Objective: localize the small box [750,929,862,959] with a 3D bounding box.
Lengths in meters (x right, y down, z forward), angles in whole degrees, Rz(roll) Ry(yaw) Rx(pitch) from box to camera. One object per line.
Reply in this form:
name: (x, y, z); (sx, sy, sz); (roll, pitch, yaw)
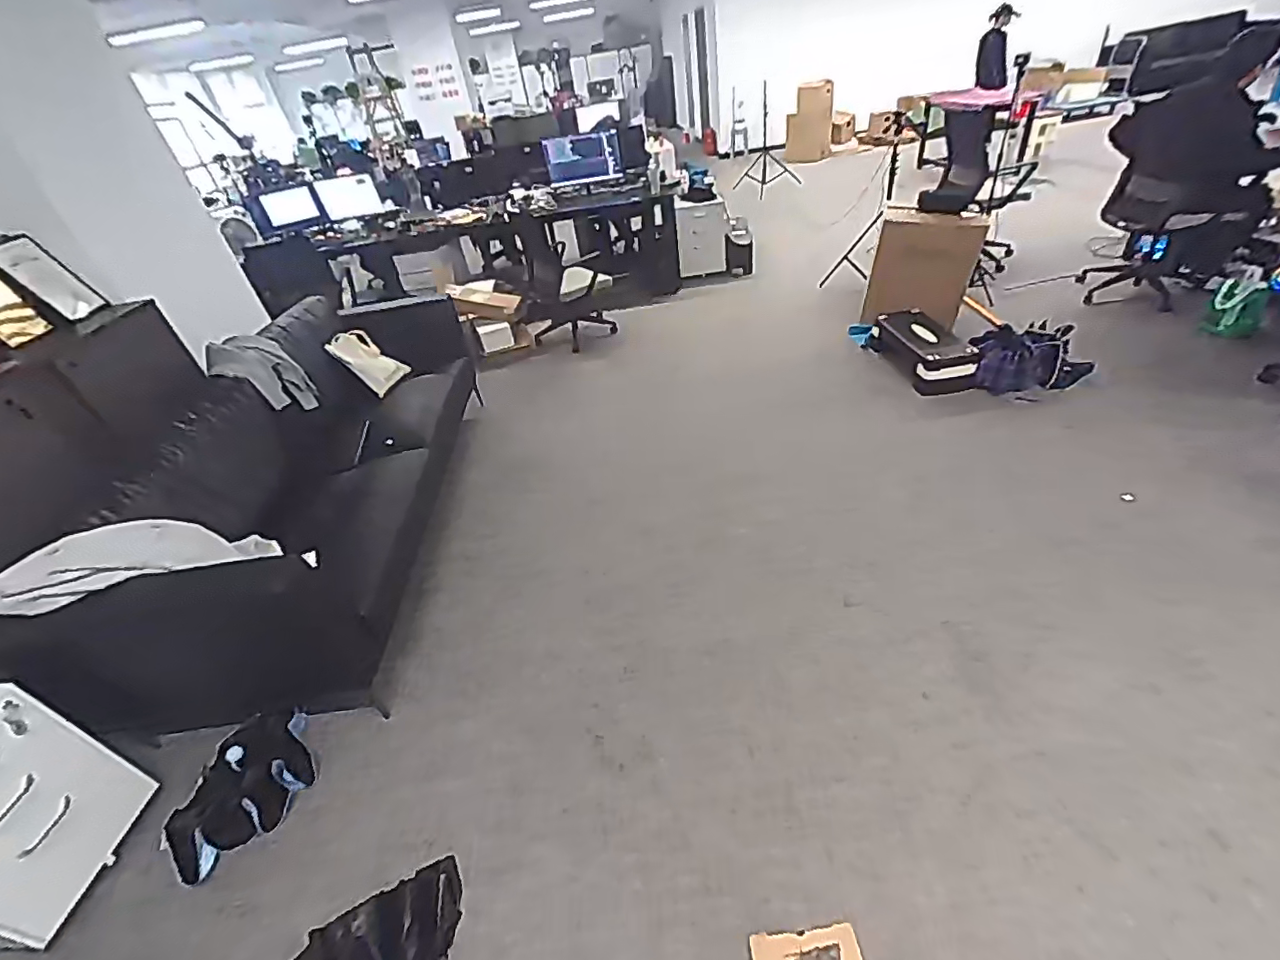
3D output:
small box: (0.266, 0.823, 0.824); (0.168, 0.176, 0.179); (-9, 40, 1)
